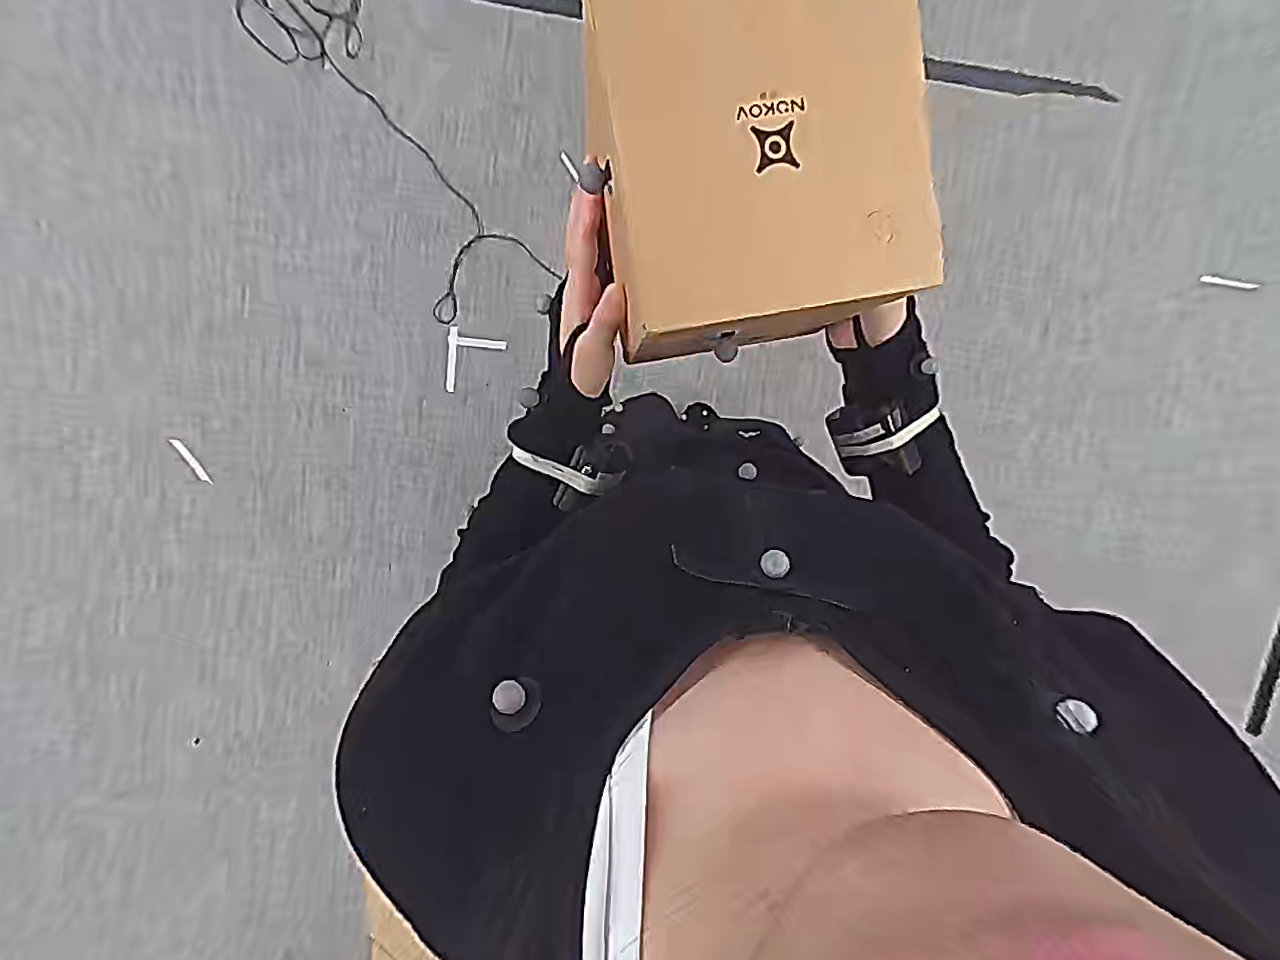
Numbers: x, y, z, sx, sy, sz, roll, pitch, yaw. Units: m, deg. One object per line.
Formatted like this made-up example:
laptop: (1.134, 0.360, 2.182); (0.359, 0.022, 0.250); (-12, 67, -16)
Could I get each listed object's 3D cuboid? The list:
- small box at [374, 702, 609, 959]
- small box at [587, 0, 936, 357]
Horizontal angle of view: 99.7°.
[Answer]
small box: (-0.120, 0.322, 0.500); (0.168, 0.176, 0.179); (-3, 95, 2)
small box: (0.062, -0.184, 0.361); (0.168, 0.176, 0.179); (-11, 96, -4)
